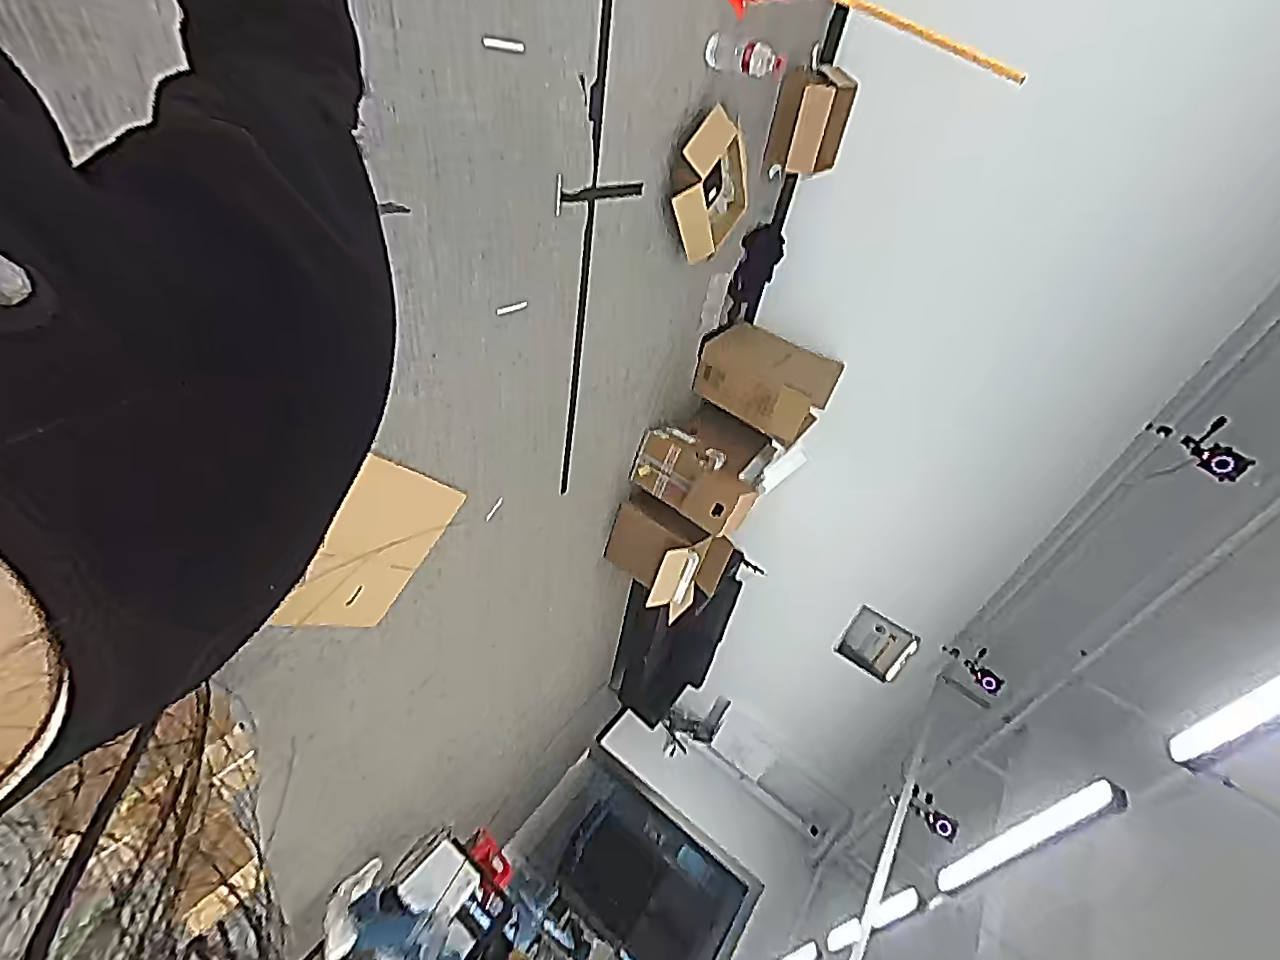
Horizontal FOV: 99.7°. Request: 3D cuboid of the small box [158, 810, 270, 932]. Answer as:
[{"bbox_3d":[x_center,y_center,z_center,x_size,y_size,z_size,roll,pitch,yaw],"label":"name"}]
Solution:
[{"bbox_3d":[-1.140,1.037,1.444,0.179,0.176,0.168,-36,150,-46],"label":"small box"}]
